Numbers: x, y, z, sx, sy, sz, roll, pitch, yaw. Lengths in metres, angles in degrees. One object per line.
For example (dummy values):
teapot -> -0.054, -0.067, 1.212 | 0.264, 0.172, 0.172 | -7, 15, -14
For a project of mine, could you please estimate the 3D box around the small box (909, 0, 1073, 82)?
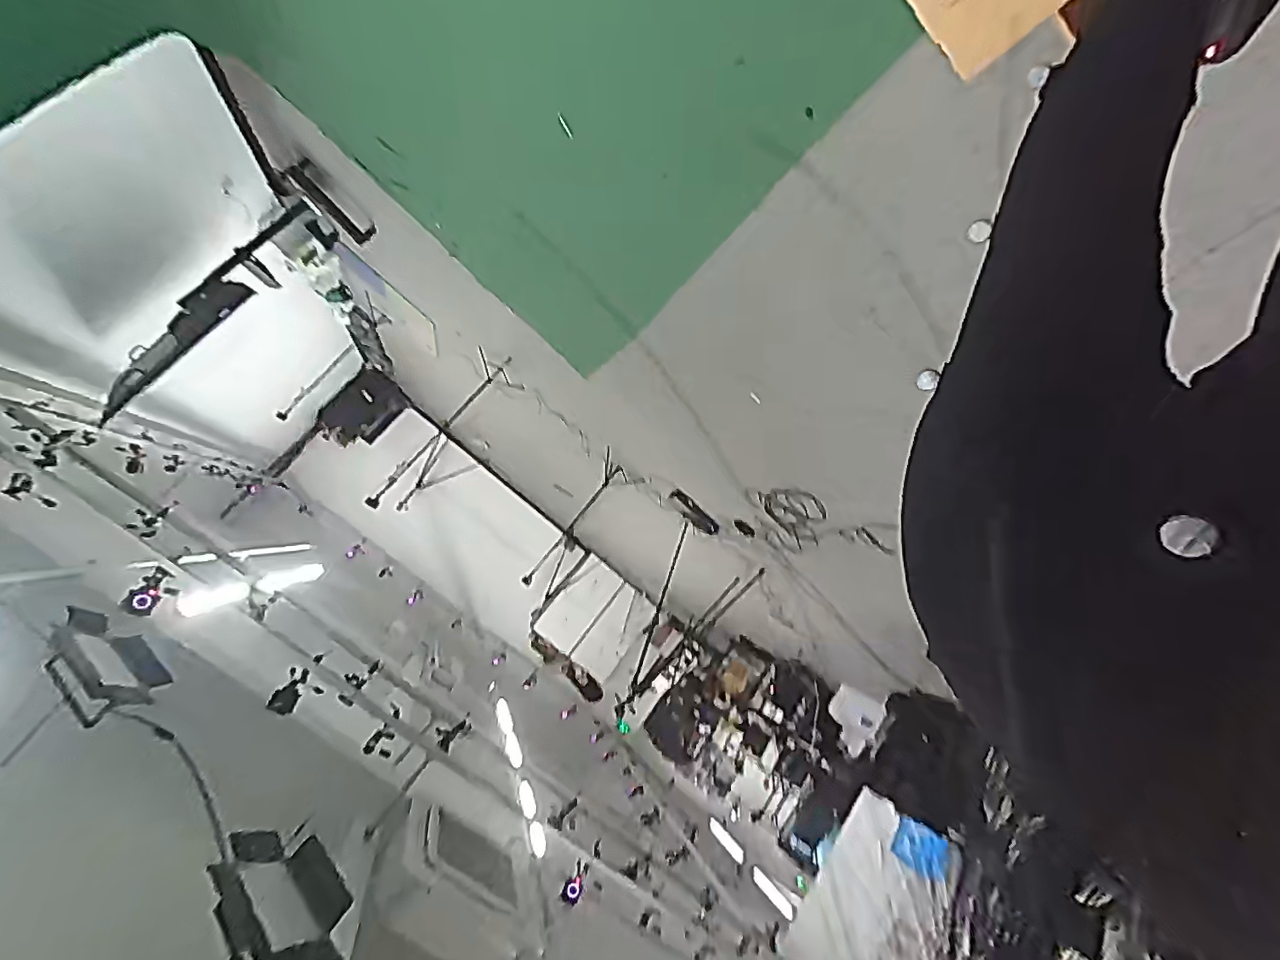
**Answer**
small box -> 0.428, -0.612, 0.595 | 0.168, 0.176, 0.179 | 42, 163, -13
